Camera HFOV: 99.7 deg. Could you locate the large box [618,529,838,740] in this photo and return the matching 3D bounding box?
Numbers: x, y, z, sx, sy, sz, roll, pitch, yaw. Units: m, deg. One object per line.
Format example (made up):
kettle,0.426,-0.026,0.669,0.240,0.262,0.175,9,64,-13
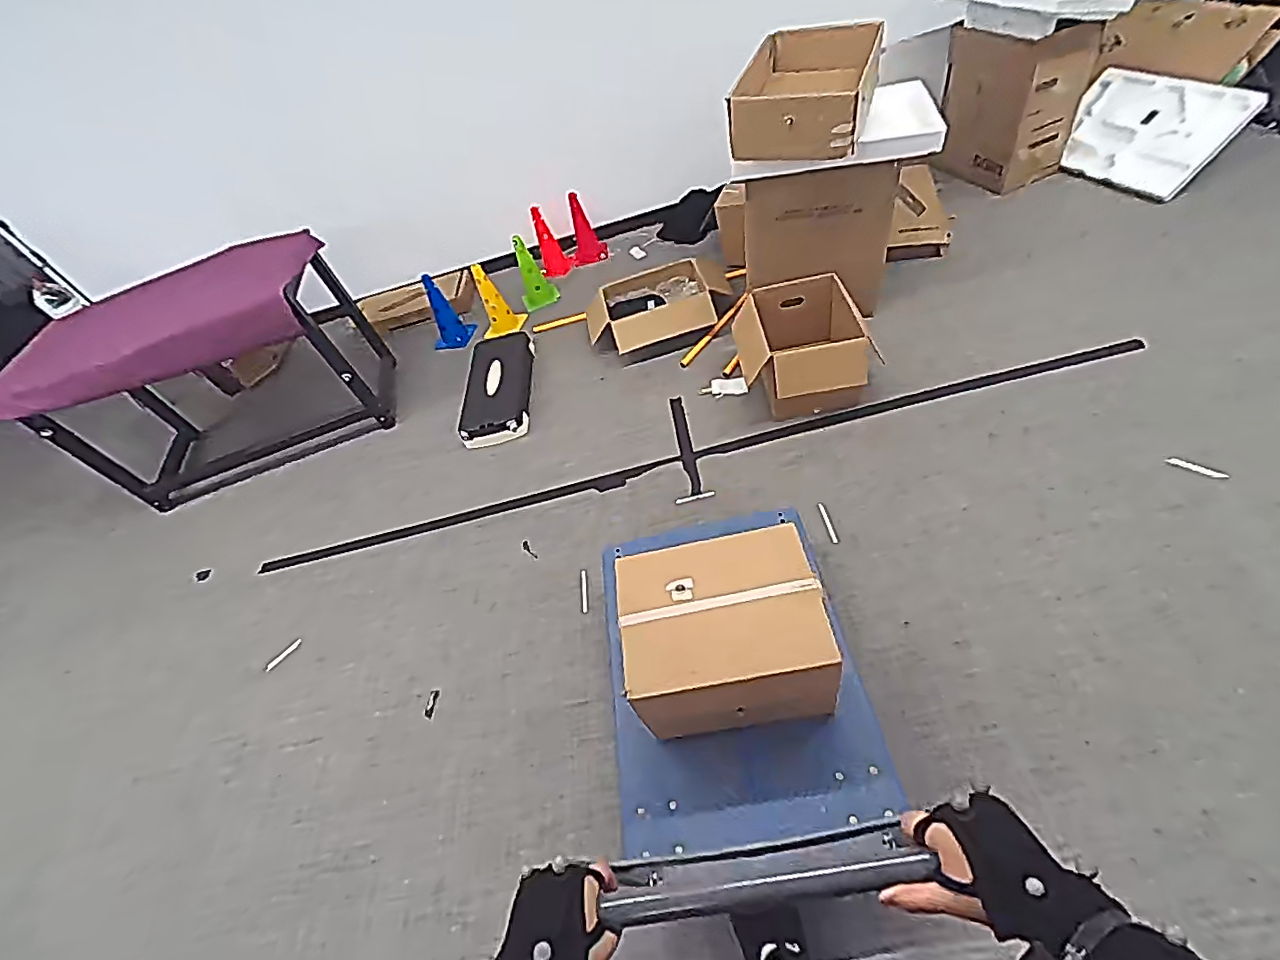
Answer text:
large box,0.193,0.359,1.220,0.408,0.320,0.320,-14,48,7
